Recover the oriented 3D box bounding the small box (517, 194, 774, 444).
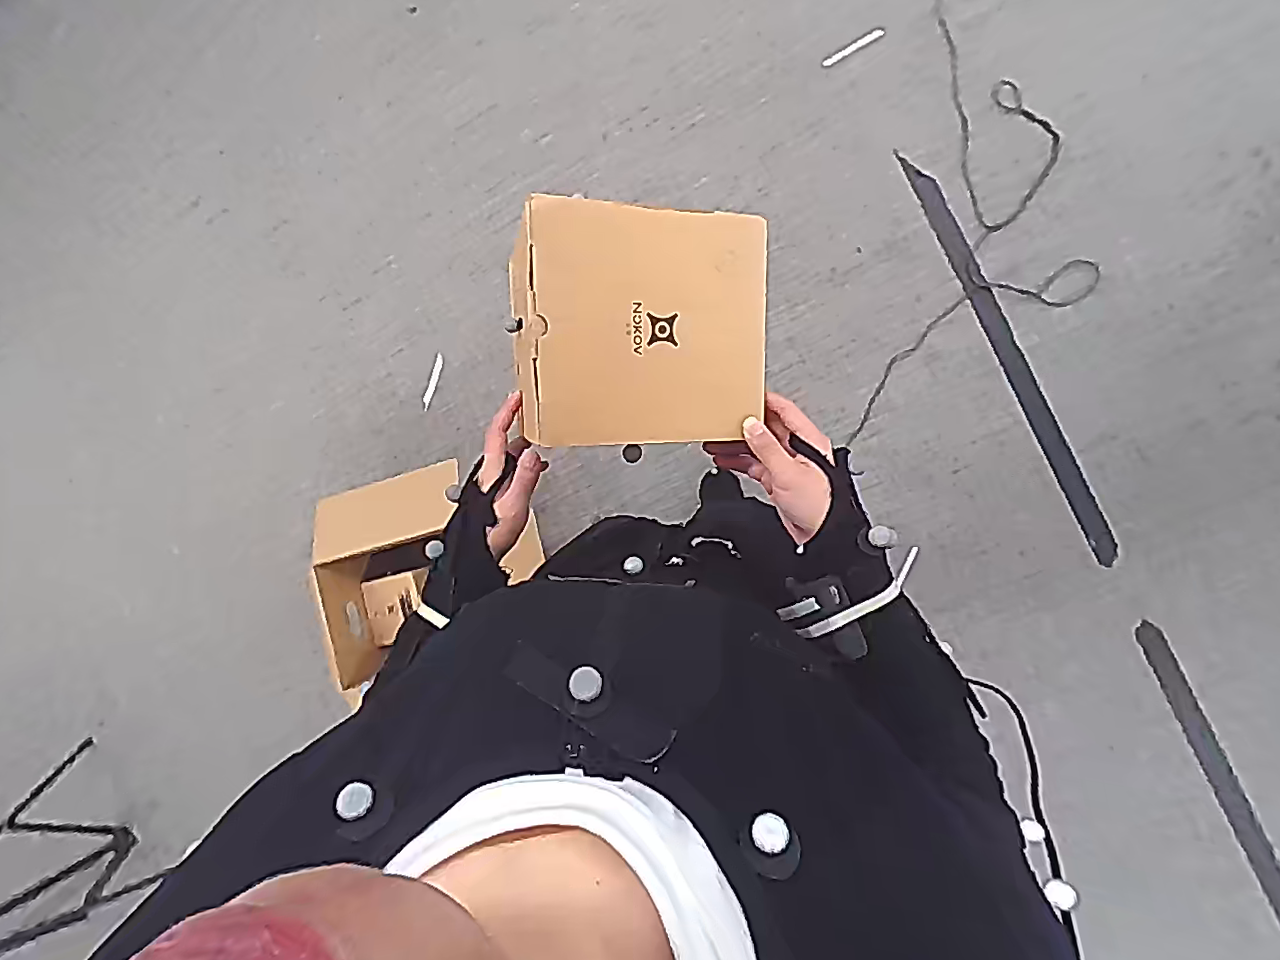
[{"bbox_3d":[-0.008,-0.121,0.462,0.179,0.176,0.168,-3,99,-16],"label":"small box"}]
